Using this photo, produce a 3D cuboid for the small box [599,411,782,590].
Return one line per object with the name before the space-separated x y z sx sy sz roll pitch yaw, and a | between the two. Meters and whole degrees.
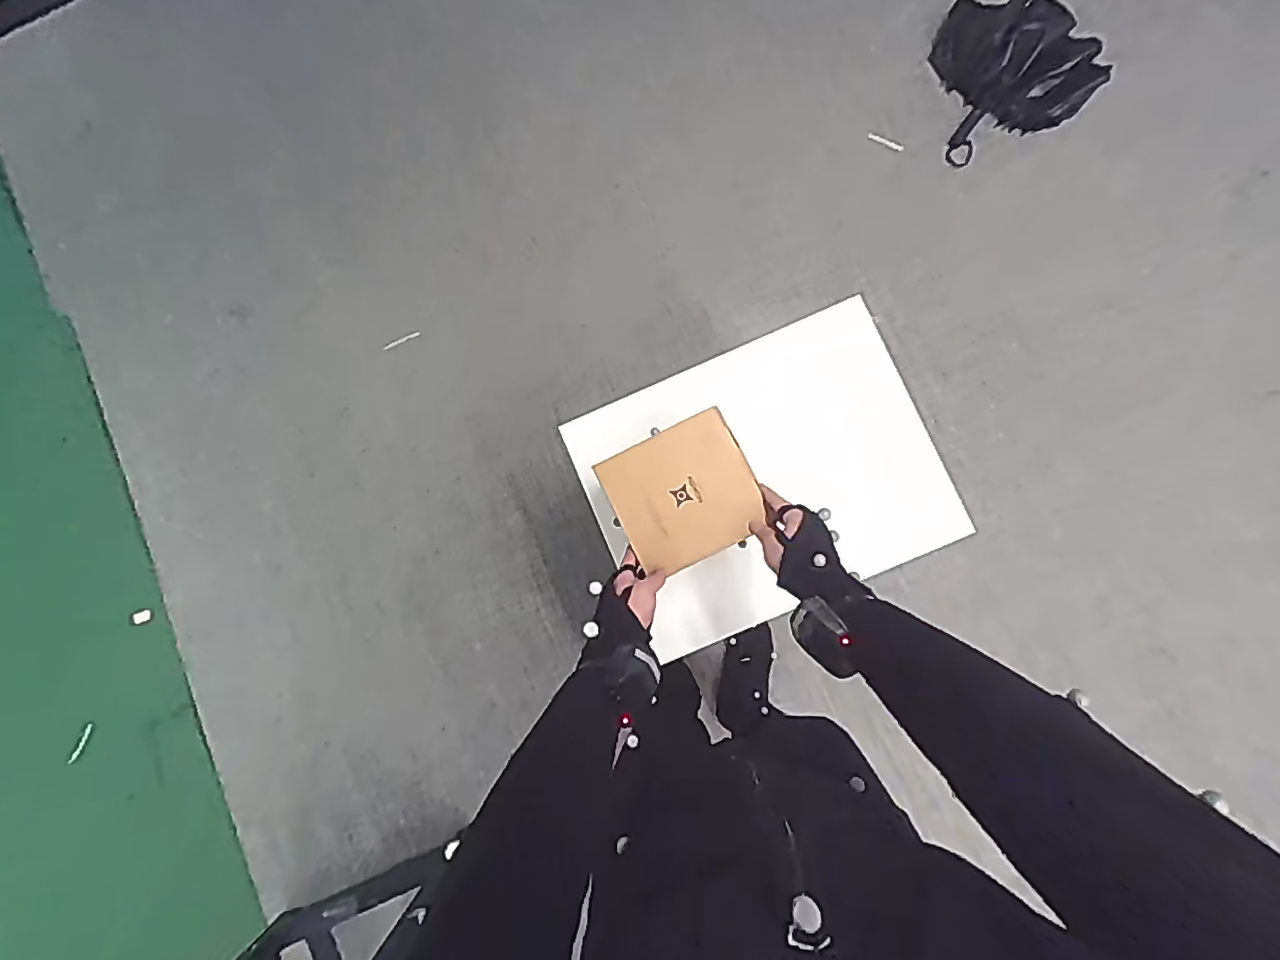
small box | 0.062 0.030 0.729 0.179 0.176 0.168 -26 83 0
